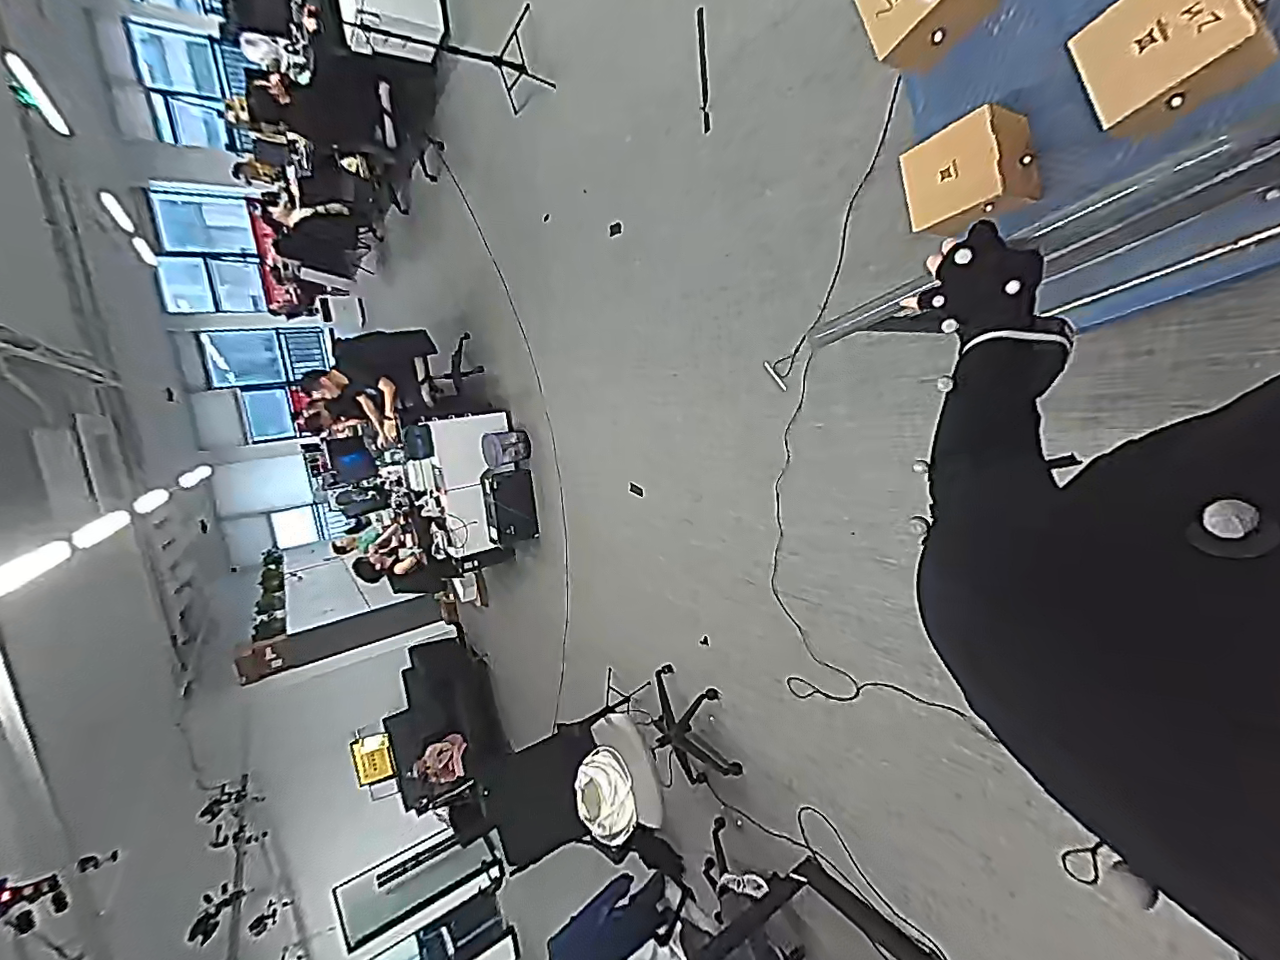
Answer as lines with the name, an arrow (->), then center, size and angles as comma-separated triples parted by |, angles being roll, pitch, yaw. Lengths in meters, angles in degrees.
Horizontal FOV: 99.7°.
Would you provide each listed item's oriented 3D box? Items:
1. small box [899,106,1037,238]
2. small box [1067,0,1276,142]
small box -> 0.669, -0.614, 1.106 | 0.179, 0.176, 0.168 | -10, 93, 56
small box -> 0.828, -0.668, 0.847 | 0.179, 0.176, 0.168 | -25, 80, 57
